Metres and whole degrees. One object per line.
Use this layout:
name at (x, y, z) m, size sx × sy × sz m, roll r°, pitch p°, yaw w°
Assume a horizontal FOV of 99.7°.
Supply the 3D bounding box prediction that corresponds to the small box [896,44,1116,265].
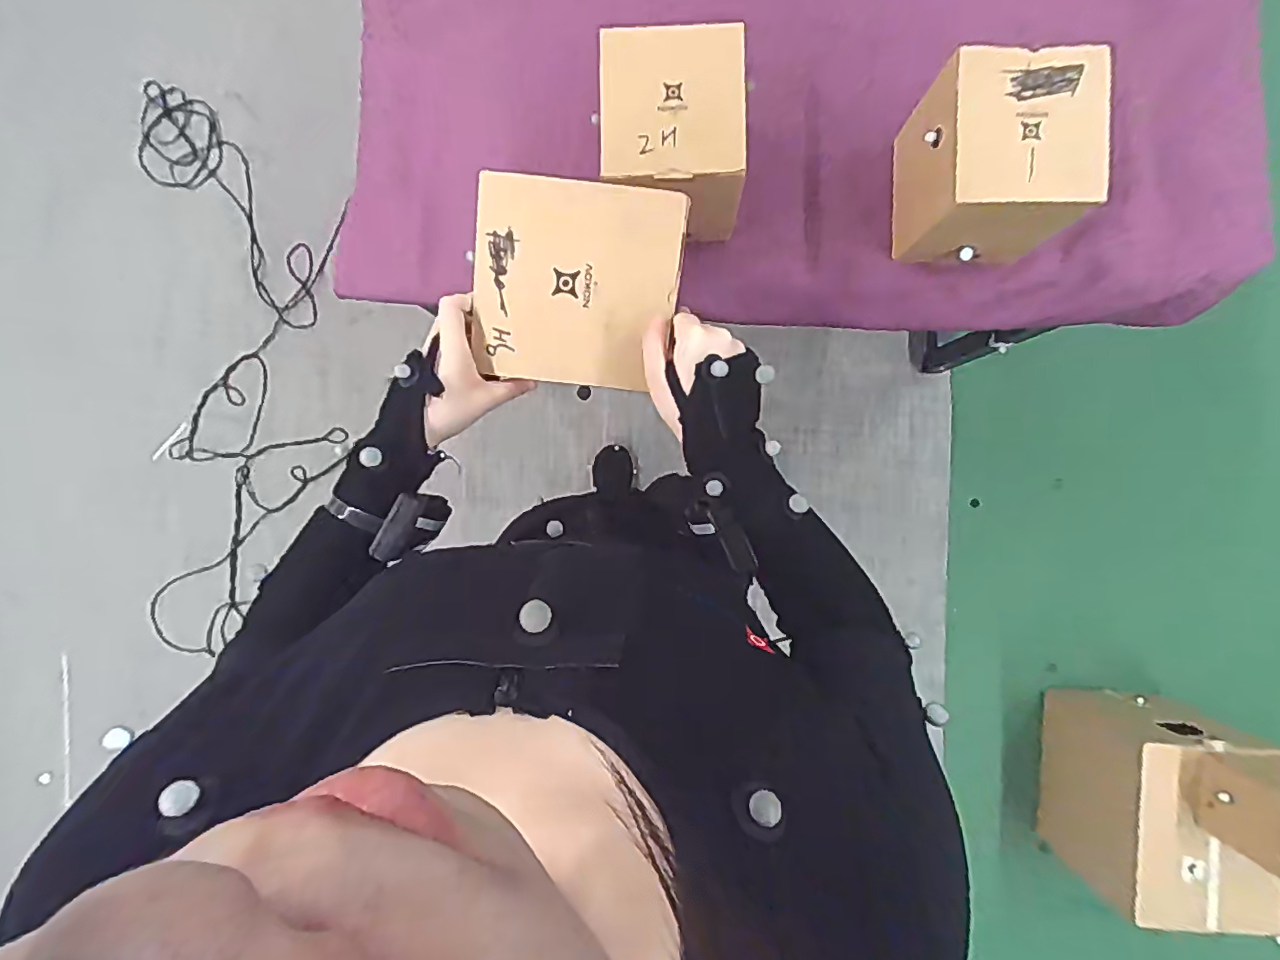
small box at (0.433, -0.387, 0.667) m, size 0.168 × 0.176 × 0.179 m, roll 1°, pitch 90°, yaw 3°

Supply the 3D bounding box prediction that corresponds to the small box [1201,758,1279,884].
small box at (1.270, 0.667, 1.053) m, size 0.179 × 0.176 × 0.168 m, roll 3°, pitch 91°, yaw 2°

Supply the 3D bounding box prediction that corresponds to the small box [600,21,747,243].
small box at (0.041, -0.423, 0.683) m, size 0.168 × 0.176 × 0.179 m, roll 0°, pitch 89°, yaw 3°

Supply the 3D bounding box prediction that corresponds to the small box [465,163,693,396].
small box at (-0.053, -0.177, 0.525) m, size 0.179 × 0.176 × 0.168 m, roll 7°, pitch 100°, yaw -1°

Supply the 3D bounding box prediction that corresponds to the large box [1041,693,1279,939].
large box at (1.225, 0.770, 1.298) m, size 0.320 × 0.320 × 0.408 m, roll 2°, pitch 91°, yaw 3°
